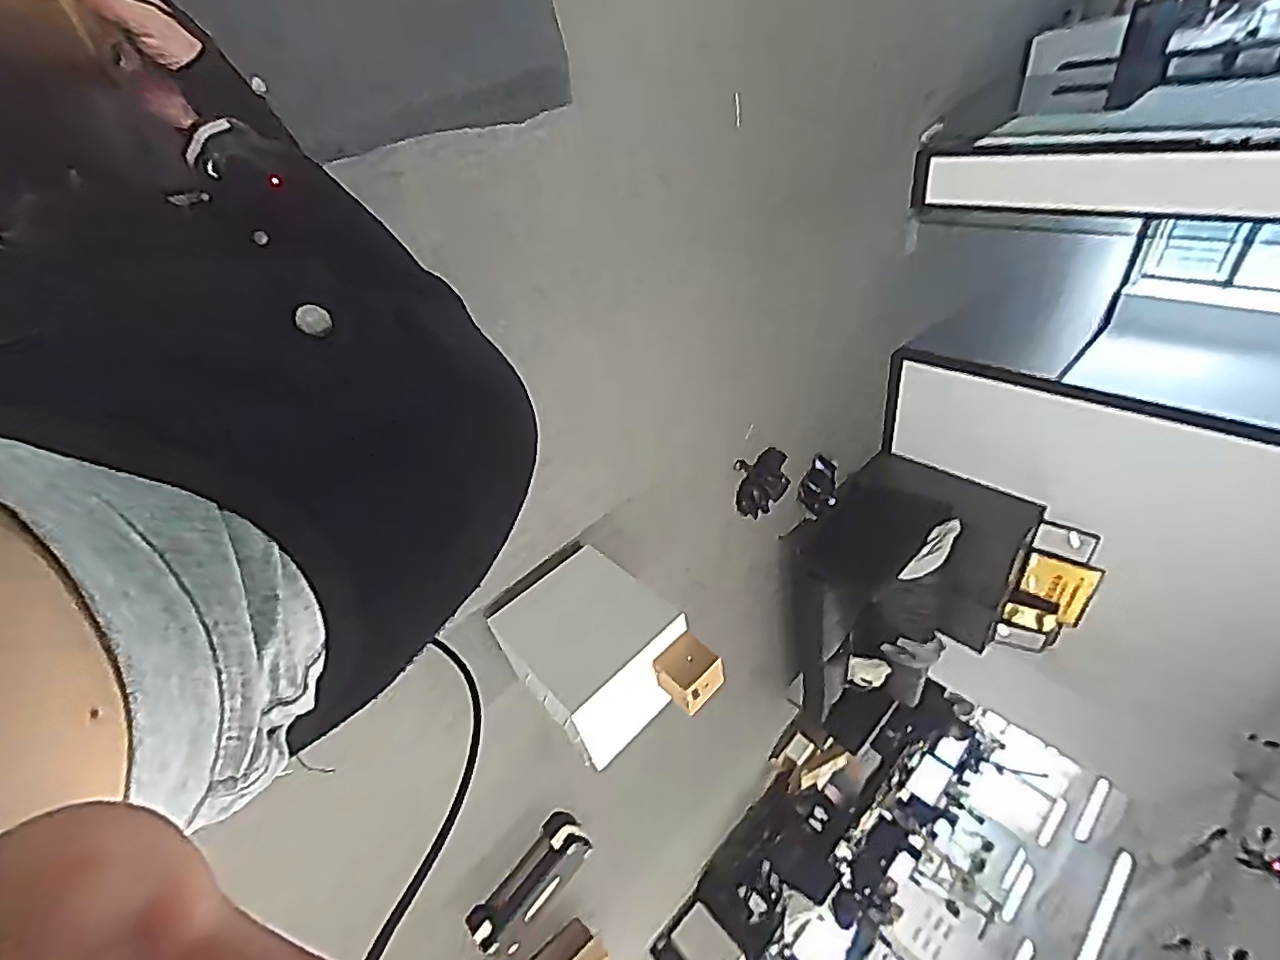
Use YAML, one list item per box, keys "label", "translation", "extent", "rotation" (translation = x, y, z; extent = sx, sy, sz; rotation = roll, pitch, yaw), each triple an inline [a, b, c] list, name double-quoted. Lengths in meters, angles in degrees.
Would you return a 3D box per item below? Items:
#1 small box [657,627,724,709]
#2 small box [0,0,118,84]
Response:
- label: "small box"
  translation: [0.175, 0.665, 1.925]
  extent: [0.179, 0.176, 0.168]
  rotation: [-36, 135, -26]
- label: "small box"
  translation: [-0.463, -0.362, 0.318]
  extent: [0.179, 0.176, 0.168]
  rotation: [-15, 114, -31]
